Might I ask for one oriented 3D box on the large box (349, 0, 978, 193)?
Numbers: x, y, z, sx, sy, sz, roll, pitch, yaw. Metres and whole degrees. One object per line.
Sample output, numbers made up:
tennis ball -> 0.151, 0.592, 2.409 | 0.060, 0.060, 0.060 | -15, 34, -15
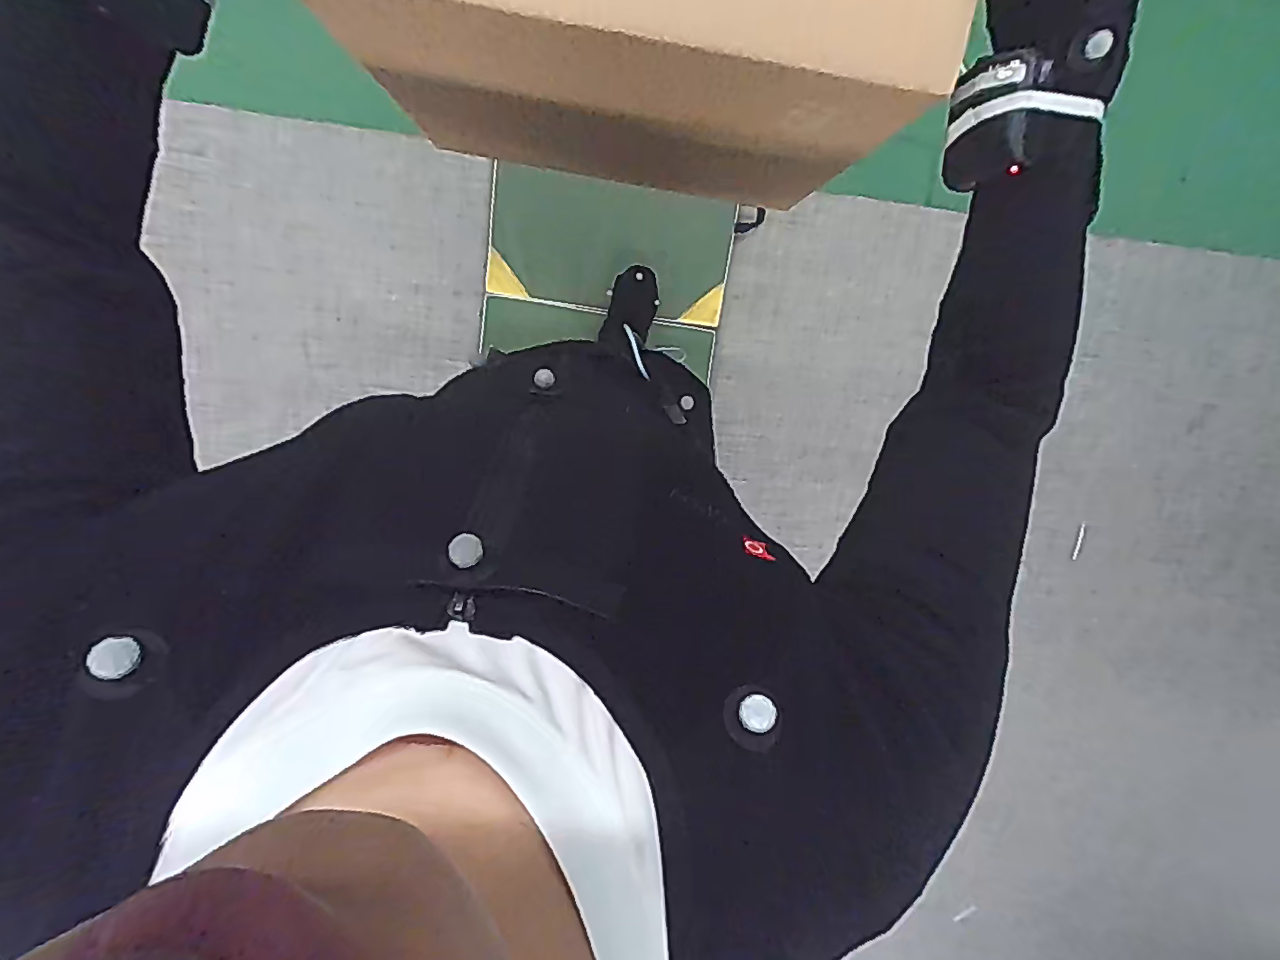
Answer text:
large box -> 0.014, -0.458, 0.431 | 0.408, 0.320, 0.320 | 6, 105, -6
